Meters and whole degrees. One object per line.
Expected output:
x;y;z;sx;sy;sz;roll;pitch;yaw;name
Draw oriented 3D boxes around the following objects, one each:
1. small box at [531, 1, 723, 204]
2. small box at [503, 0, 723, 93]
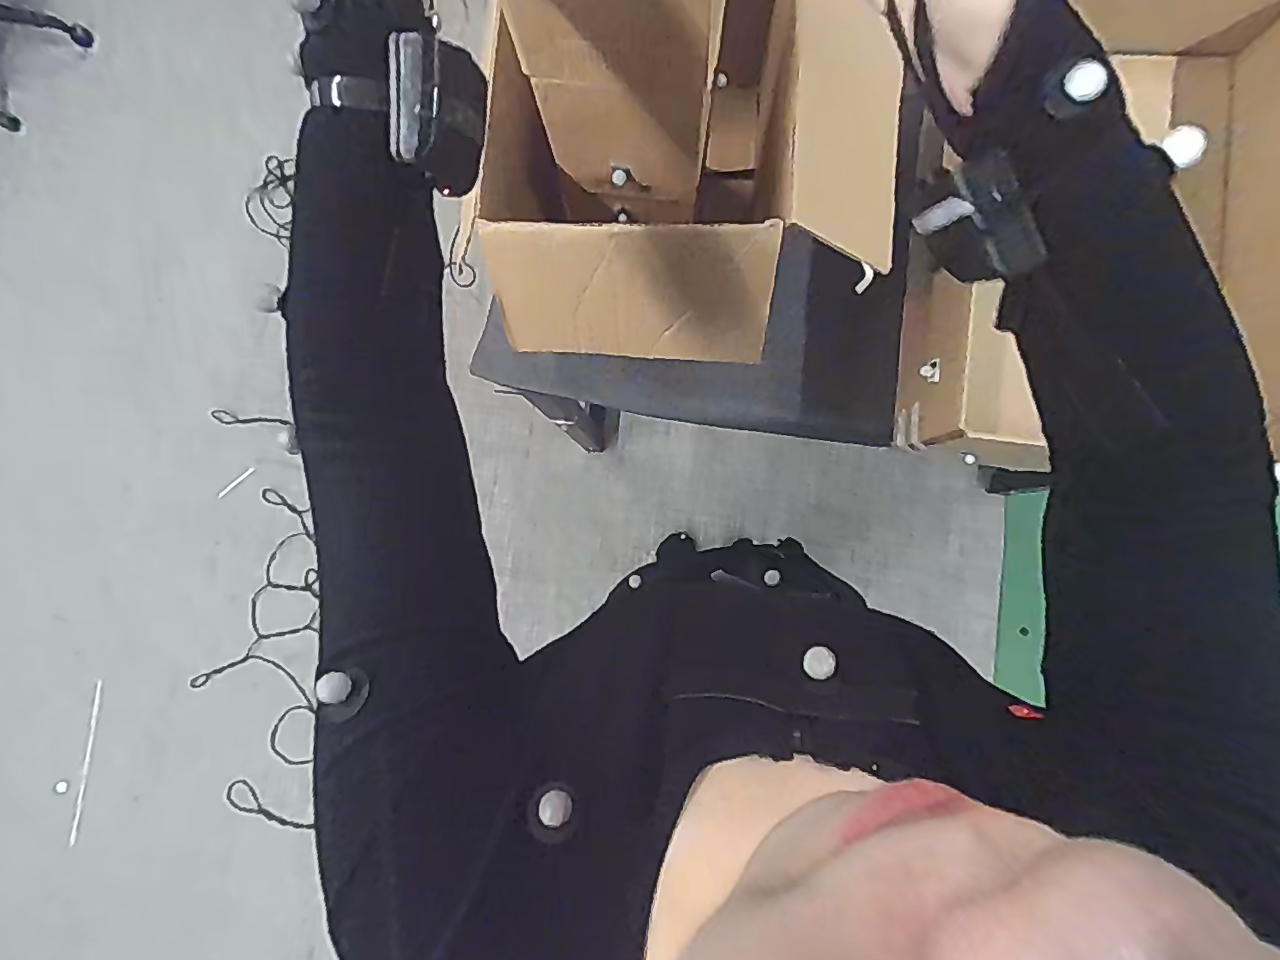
-0.006;-0.437;0.587;0.168;0.176;0.179;9;87;4;small box
-0.018;-0.448;0.426;0.179;0.176;0.168;10;86;4;small box
